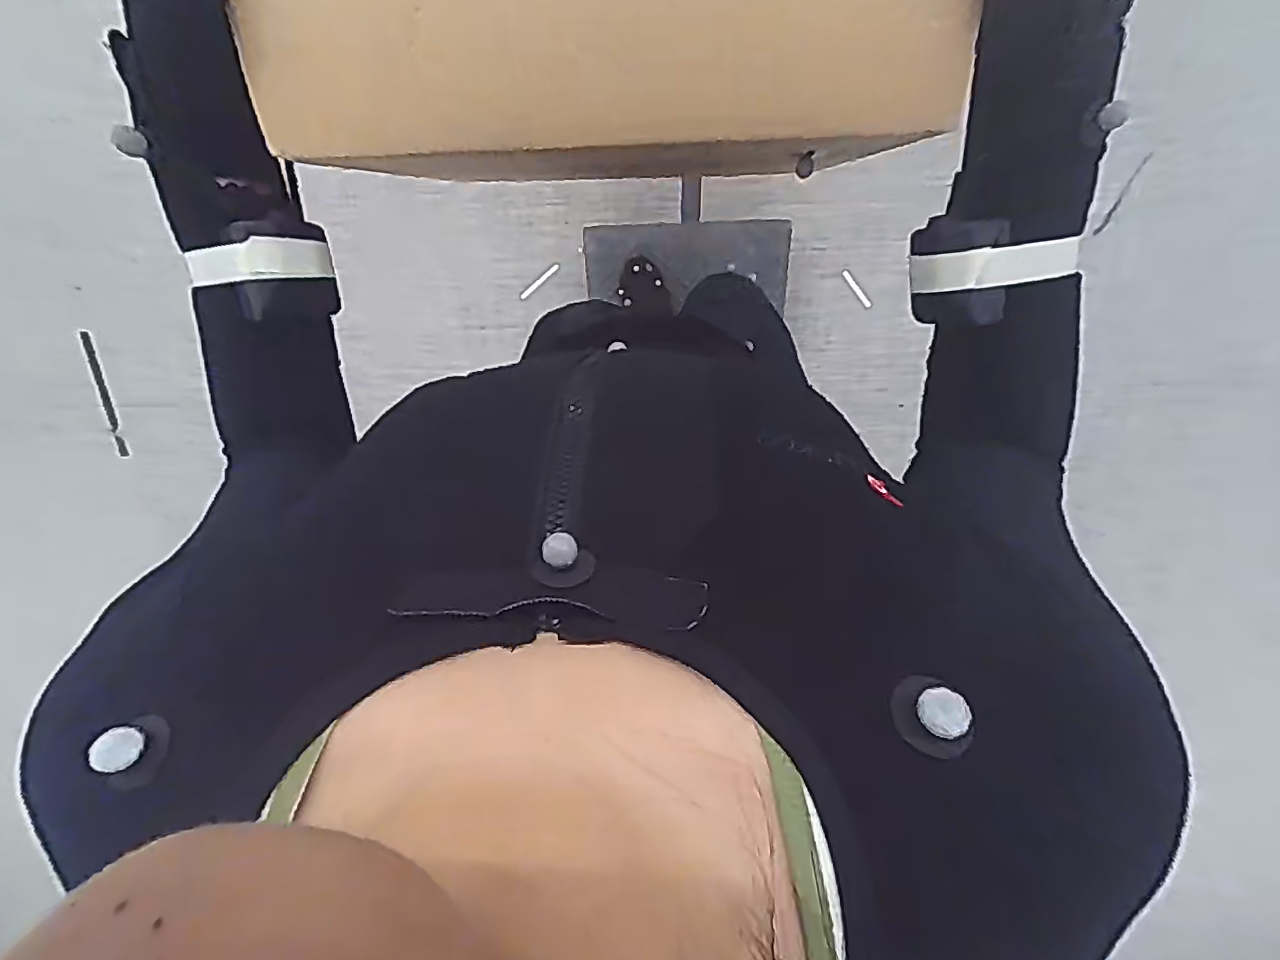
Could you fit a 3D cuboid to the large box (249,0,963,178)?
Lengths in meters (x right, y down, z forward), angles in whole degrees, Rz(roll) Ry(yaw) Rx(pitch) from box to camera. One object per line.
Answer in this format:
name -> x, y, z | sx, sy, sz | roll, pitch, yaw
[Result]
large box -> -0.017, -0.408, 0.394 | 0.408, 0.320, 0.320 | 0, 116, 4
